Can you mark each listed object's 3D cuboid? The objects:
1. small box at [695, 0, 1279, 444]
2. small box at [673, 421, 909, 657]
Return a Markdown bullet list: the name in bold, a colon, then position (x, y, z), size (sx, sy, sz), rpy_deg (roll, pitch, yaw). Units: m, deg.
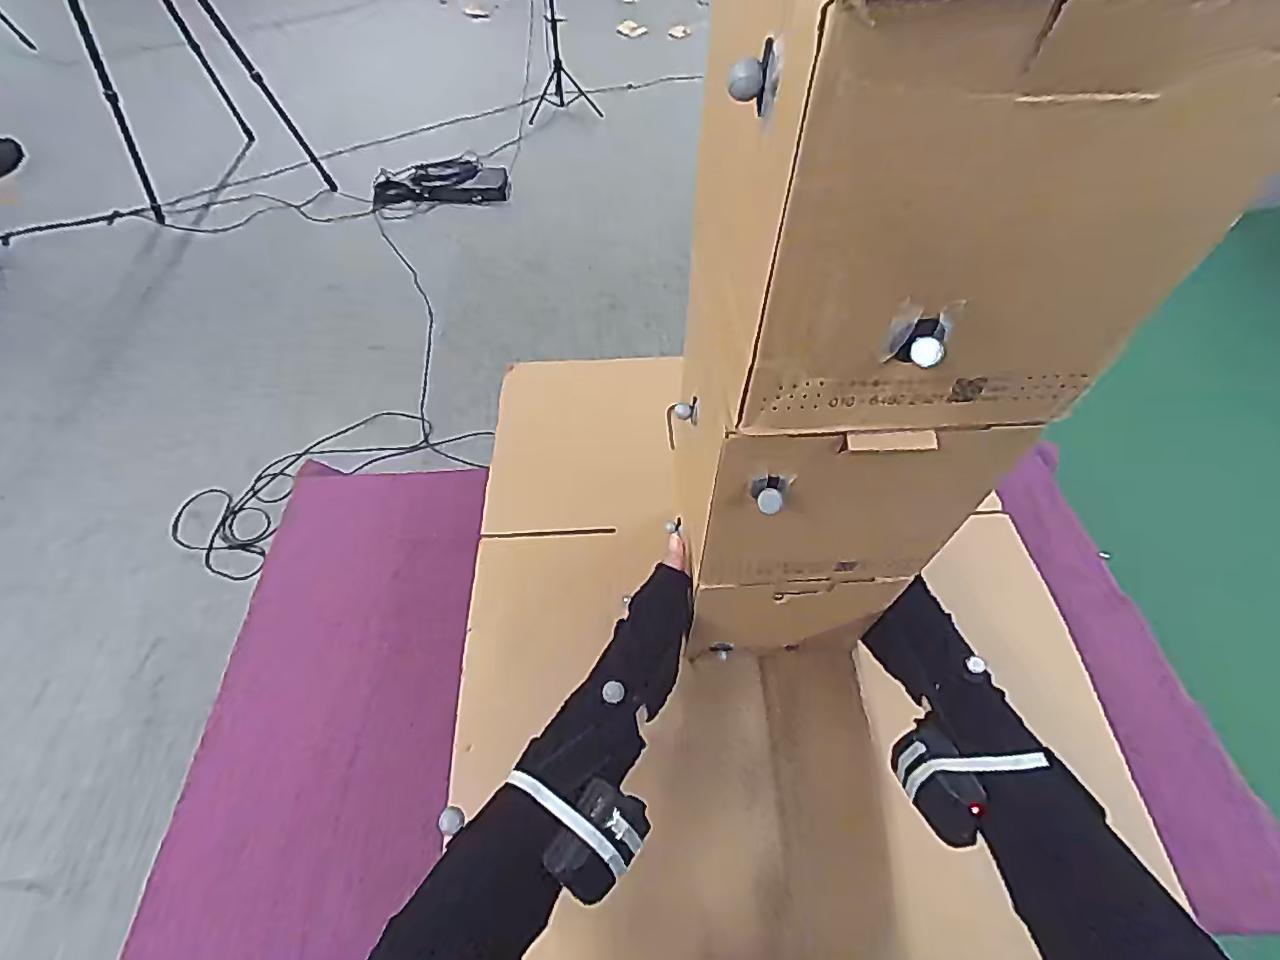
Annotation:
- **small box**: position (0.122, -0.137, 0.257), size (0.168, 0.176, 0.179), rpy_deg (-3, 53, -2)
- **small box**: position (0.121, 0.061, 0.517), size (0.168, 0.176, 0.179), rpy_deg (-2, 53, -1)
